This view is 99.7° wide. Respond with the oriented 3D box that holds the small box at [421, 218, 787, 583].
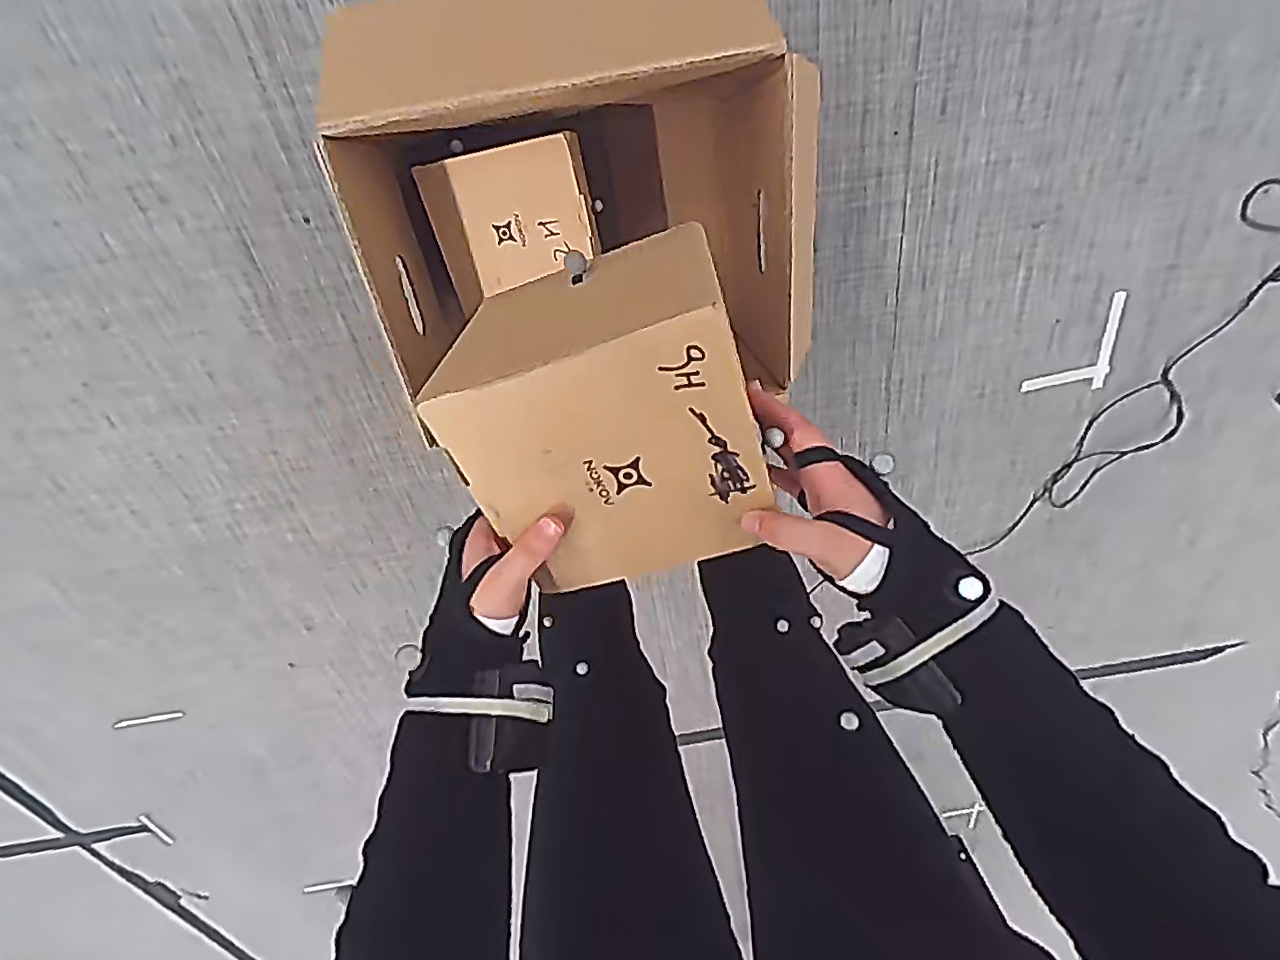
[{"bbox_3d":[-0.009,-0.057,0.378,0.179,0.176,0.168,-14,126,13],"label":"small box"}]
